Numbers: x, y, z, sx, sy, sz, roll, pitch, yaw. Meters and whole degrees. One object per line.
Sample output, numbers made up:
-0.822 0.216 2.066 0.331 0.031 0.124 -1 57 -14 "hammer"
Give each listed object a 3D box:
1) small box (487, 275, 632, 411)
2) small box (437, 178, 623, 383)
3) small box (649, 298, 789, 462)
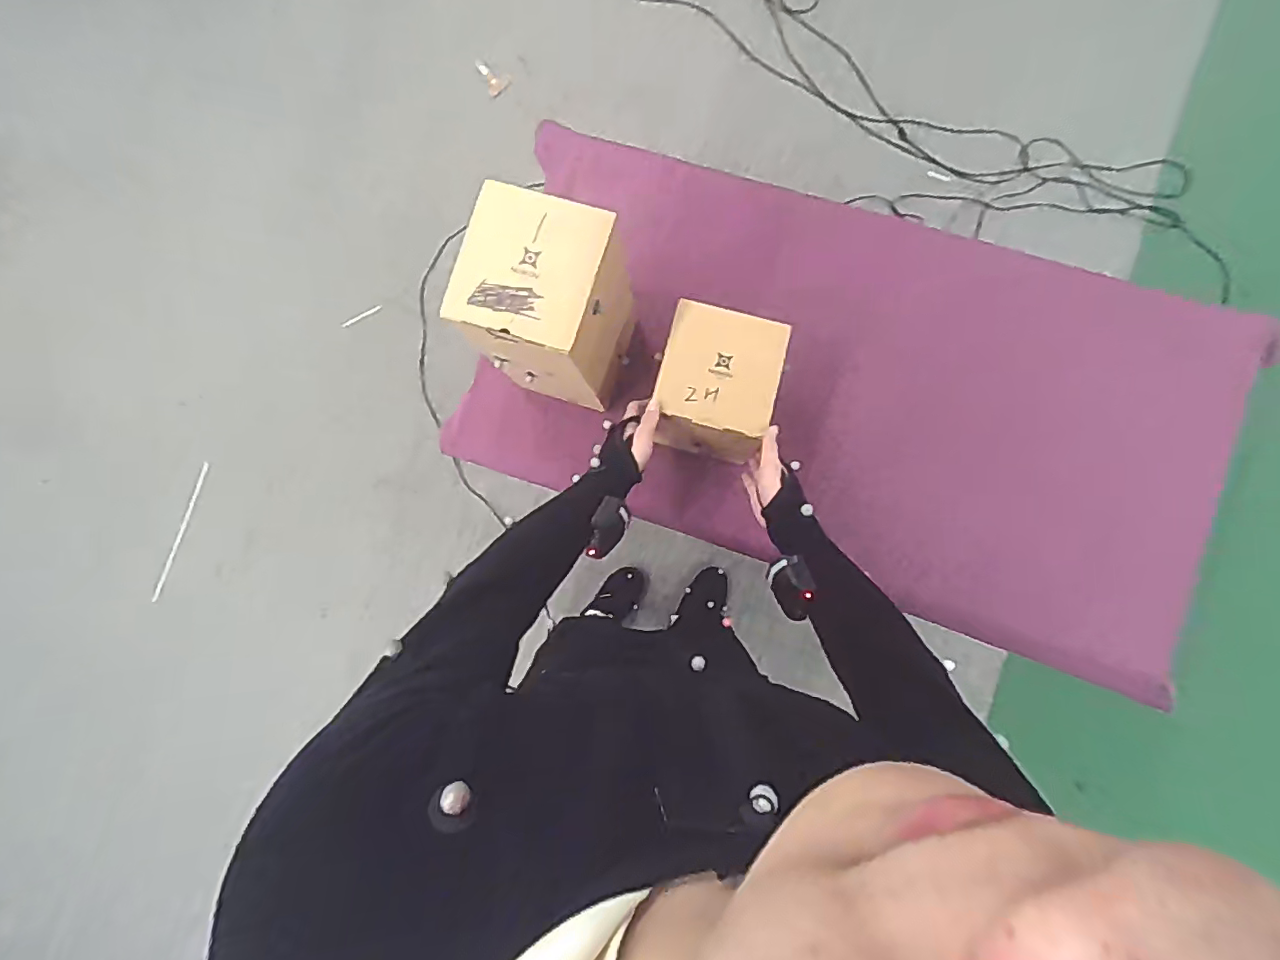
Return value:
-0.116 -0.230 0.864 0.168 0.176 0.179 18 86 7 "small box"
-0.127 -0.242 0.701 0.168 0.176 0.179 18 86 5 "small box"
0.110 -0.142 0.825 0.168 0.176 0.179 14 80 3 "small box"
